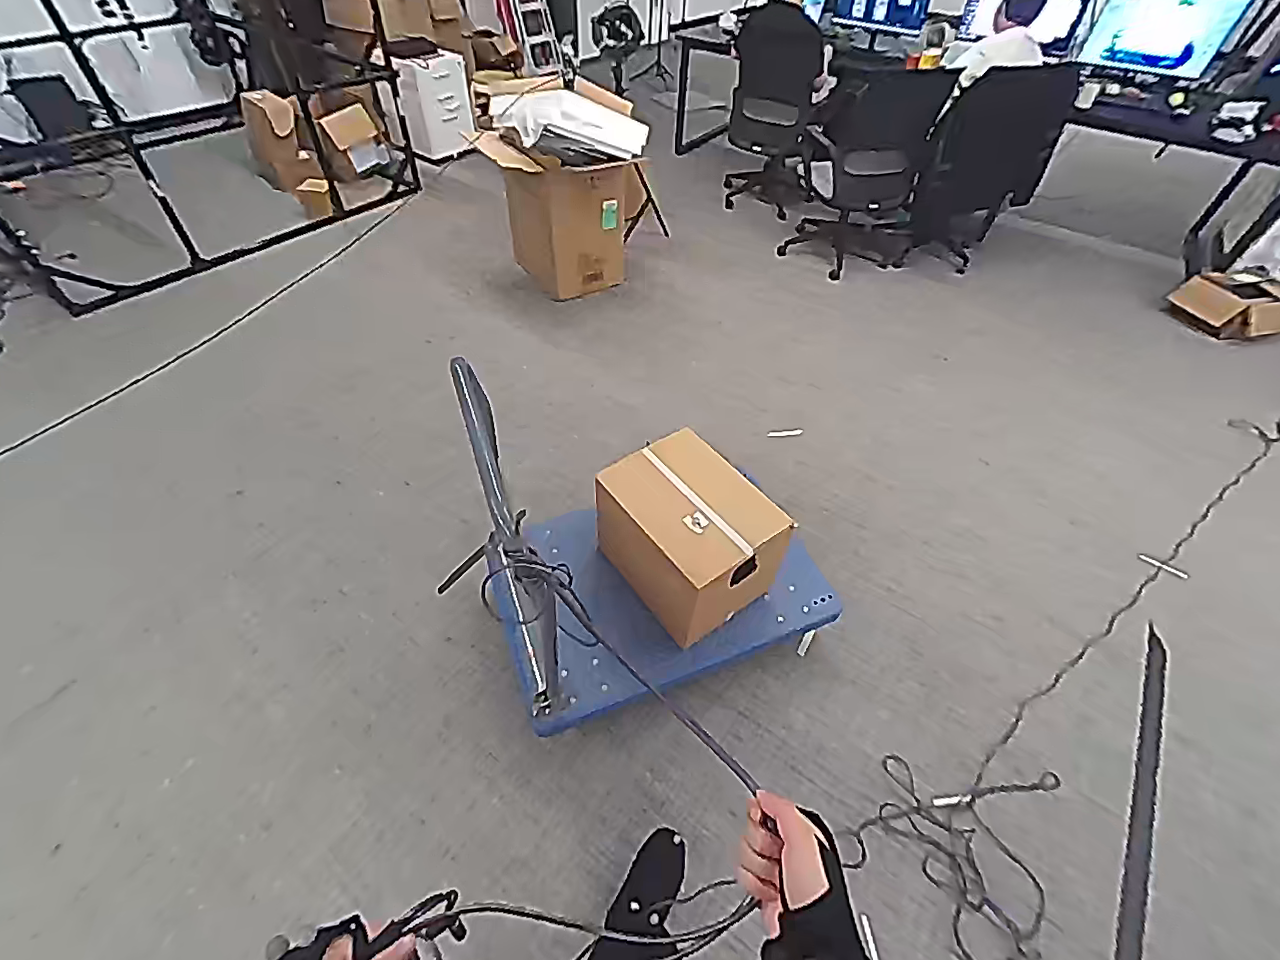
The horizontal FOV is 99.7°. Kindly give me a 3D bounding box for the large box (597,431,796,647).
[{"bbox_3d":[0.122,0.146,1.420,0.320,0.320,0.408,-29,57,-24],"label":"large box"}]
